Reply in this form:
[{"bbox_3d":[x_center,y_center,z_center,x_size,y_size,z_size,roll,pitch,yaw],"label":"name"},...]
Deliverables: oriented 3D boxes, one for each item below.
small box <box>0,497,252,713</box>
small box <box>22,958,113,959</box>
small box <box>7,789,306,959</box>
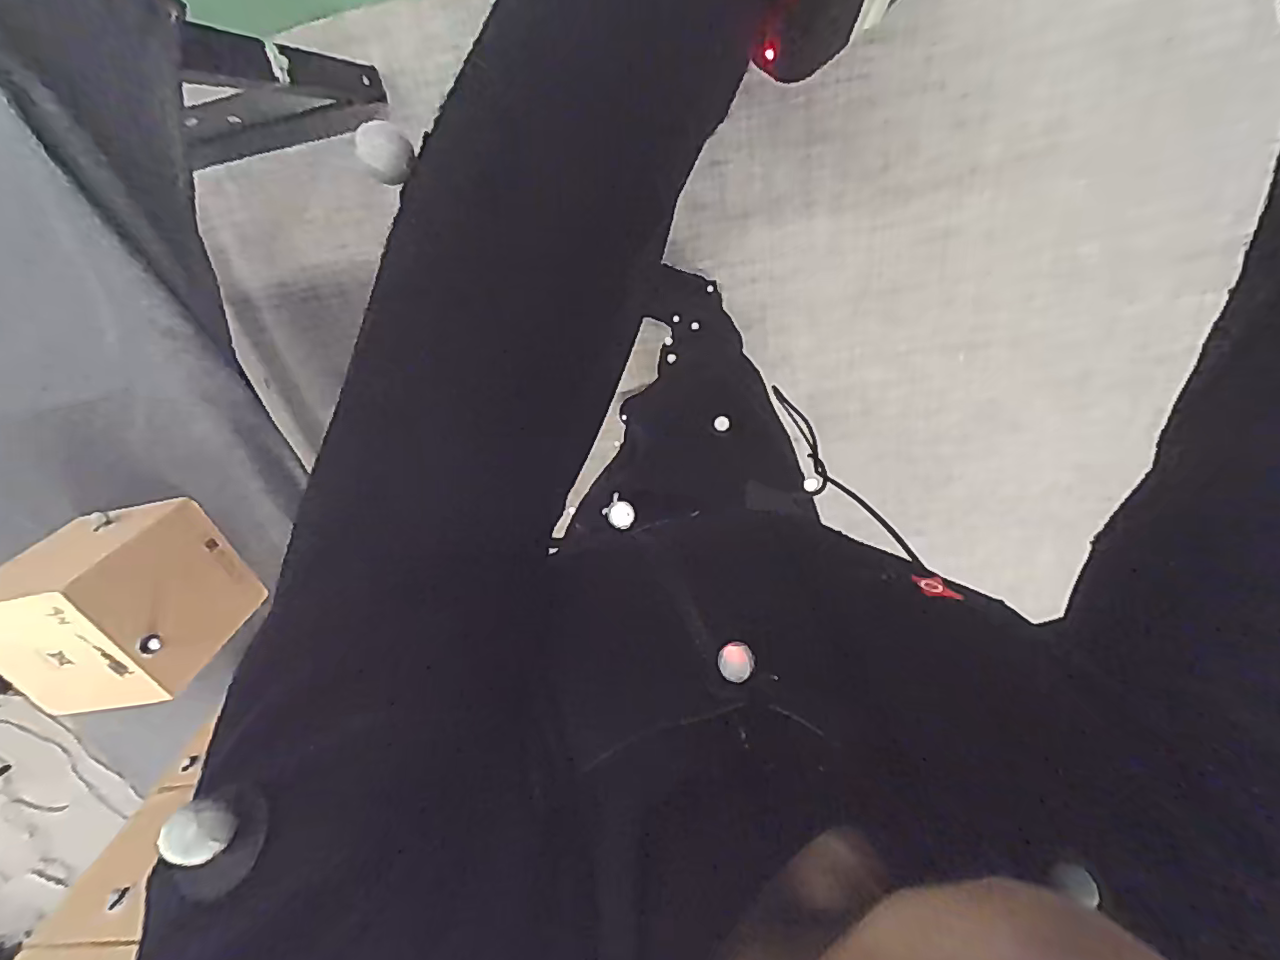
[{"bbox_3d":[-0.610,0.138,0.620,0.179,0.176,0.168,-9,121,10],"label":"small box"},{"bbox_3d":[-0.556,0.581,0.506,0.179,0.176,0.168,-13,119,13],"label":"small box"},{"bbox_3d":[-0.543,0.495,0.646,0.179,0.176,0.168,-11,119,12],"label":"small box"}]
